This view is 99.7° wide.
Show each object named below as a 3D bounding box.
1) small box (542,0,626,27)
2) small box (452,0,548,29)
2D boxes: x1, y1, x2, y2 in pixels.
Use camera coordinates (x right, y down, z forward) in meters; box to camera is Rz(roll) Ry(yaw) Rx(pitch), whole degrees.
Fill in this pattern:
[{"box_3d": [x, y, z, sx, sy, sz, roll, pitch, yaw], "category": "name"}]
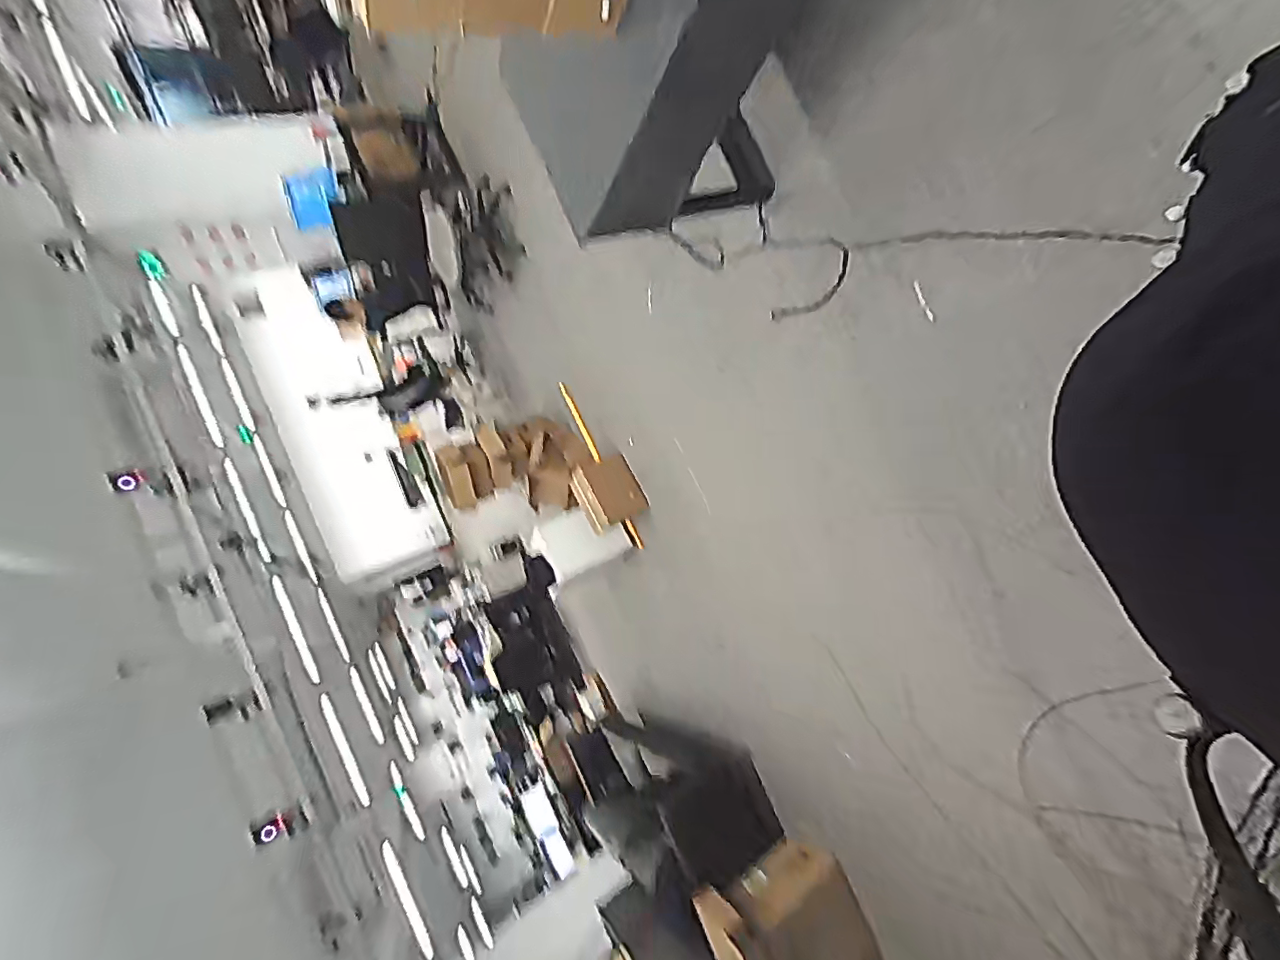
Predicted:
[{"box_3d": [-0.124, -1.022, 1.047, 0.179, 0.176, 0.168, 66, 154, 2], "category": "small box"}, {"box_3d": [-0.262, -0.969, 0.978, 0.168, 0.176, 0.179, 67, 154, 5], "category": "small box"}]
